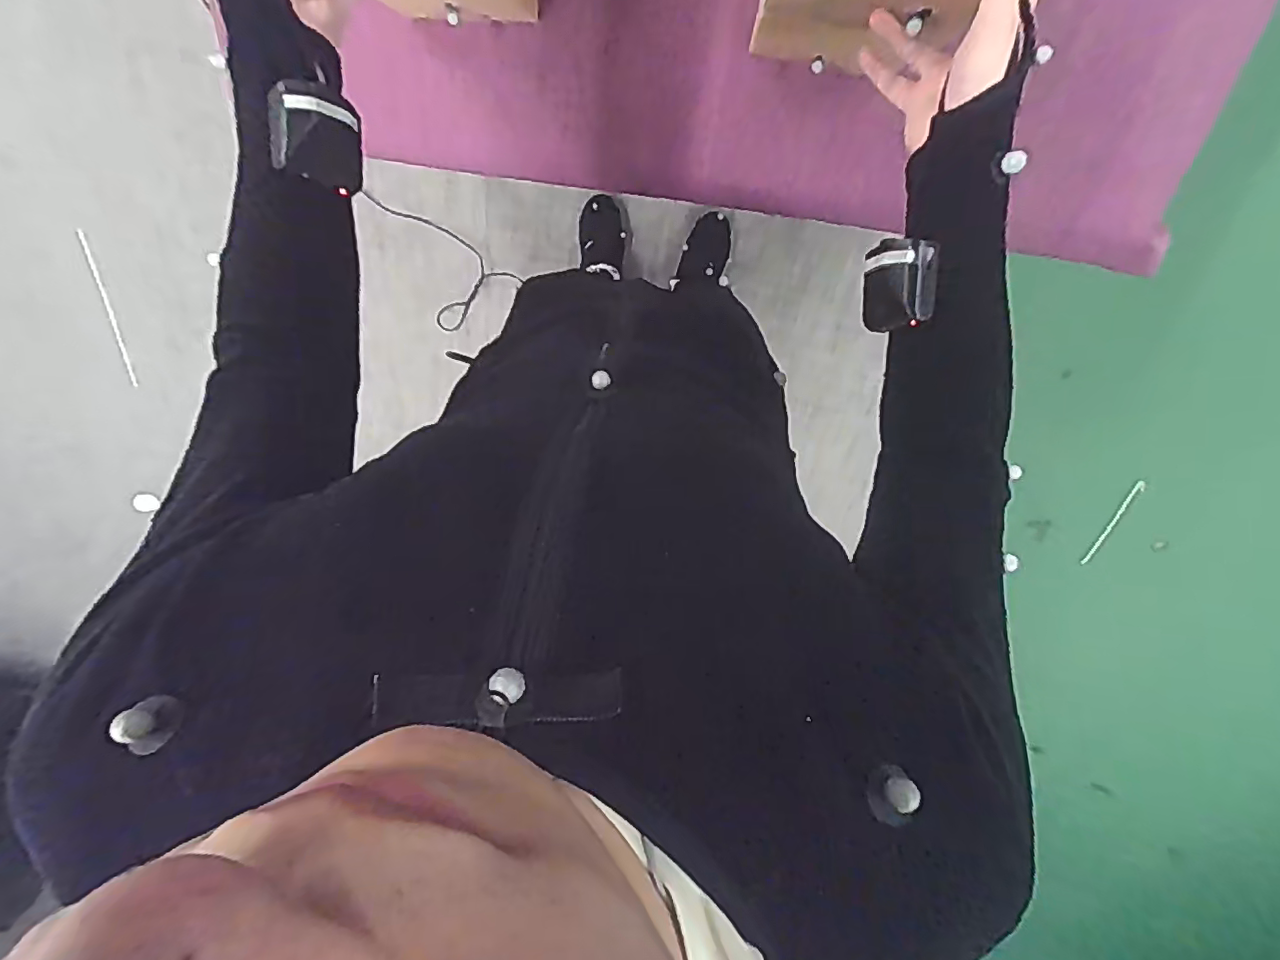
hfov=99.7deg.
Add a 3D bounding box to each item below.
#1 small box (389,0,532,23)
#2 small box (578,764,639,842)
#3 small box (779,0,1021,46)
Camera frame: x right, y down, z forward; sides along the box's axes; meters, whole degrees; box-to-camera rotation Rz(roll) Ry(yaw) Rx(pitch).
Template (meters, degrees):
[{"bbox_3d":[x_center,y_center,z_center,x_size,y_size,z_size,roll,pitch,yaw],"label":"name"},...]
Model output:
[{"bbox_3d":[-0.208,-0.587,0.531,0.168,0.176,0.179,5,119,3],"label":"small box"},{"bbox_3d":[-0.108,1.138,1.914,0.179,0.176,0.168,15,120,-4],"label":"small box"},{"bbox_3d":[0.200,-0.442,0.382,0.168,0.176,0.179,12,119,-1],"label":"small box"}]
